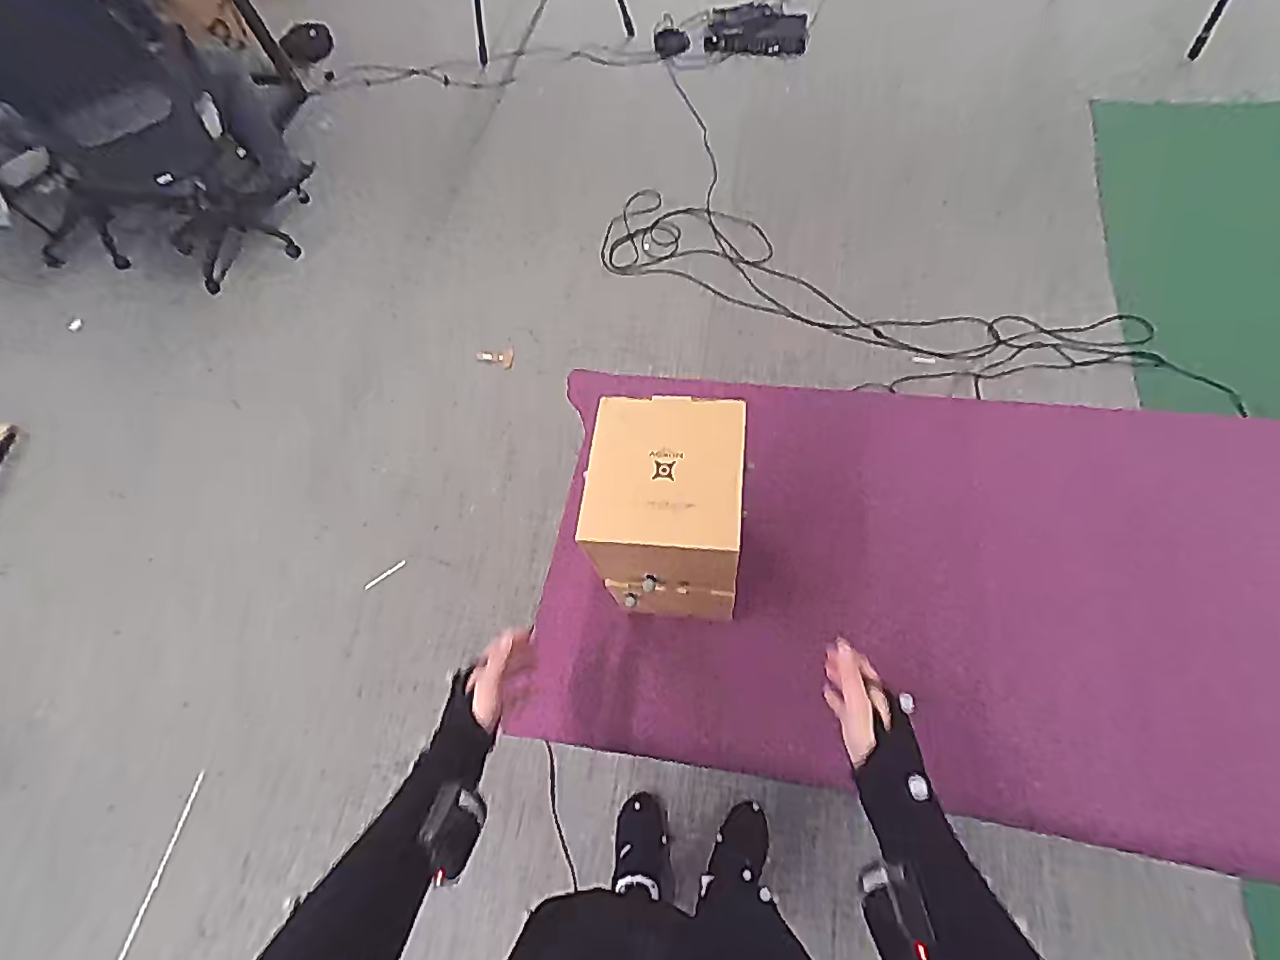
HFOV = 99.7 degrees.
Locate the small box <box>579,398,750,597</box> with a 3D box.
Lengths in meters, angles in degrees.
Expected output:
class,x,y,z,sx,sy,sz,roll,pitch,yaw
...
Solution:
class,x,y,z,sx,sy,sz,roll,pitch,yaw
small box,0.037,0.025,0.640,0.168,0.176,0.179,4,65,9
